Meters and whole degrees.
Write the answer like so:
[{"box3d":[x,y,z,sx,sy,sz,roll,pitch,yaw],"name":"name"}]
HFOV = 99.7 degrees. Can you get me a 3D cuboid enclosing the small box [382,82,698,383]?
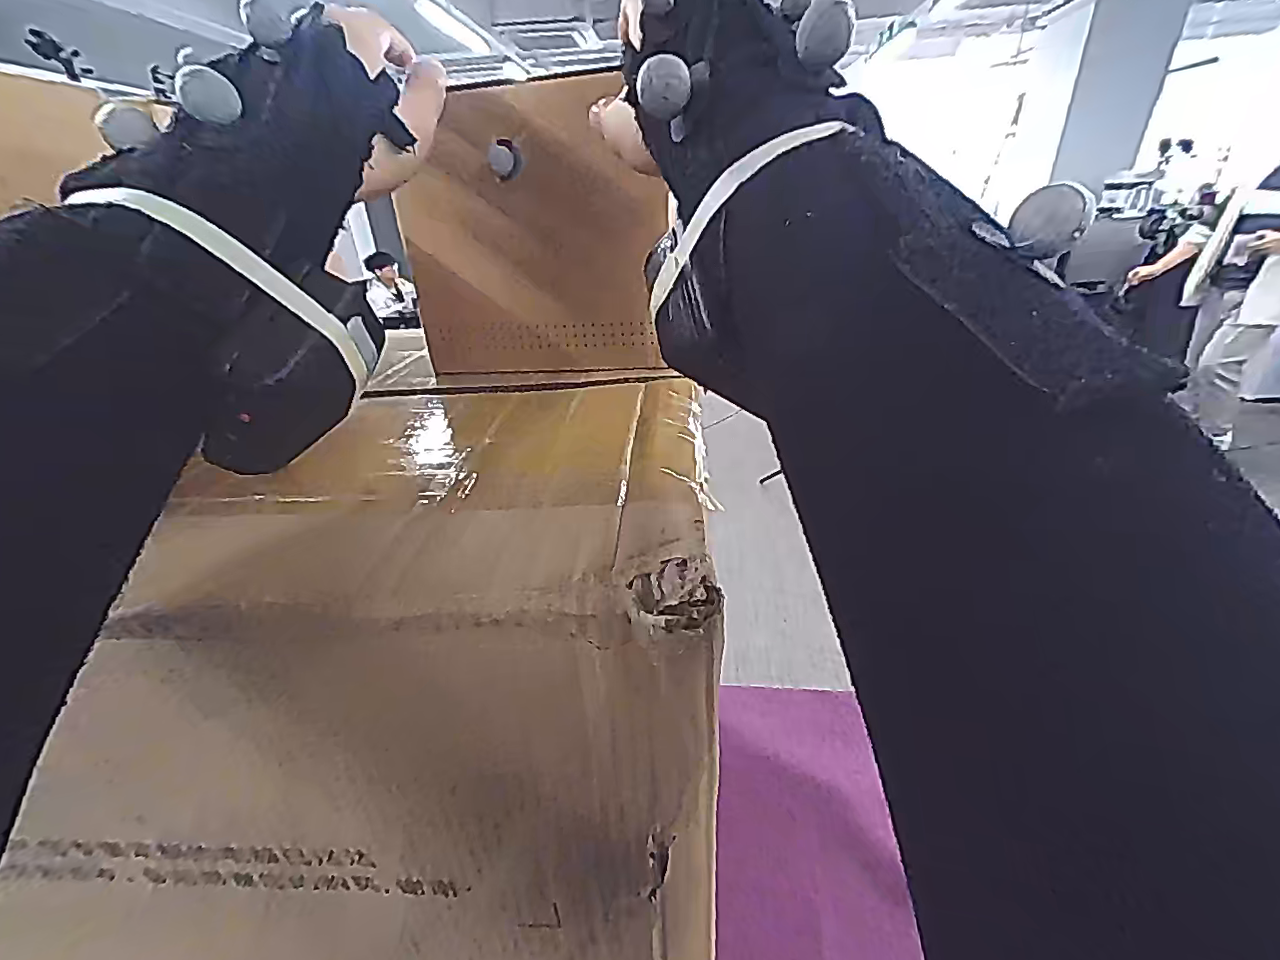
[{"box3d":[-0.049,-0.176,0.407,0.179,0.176,0.168,1,28,10],"name":"small box"}]
